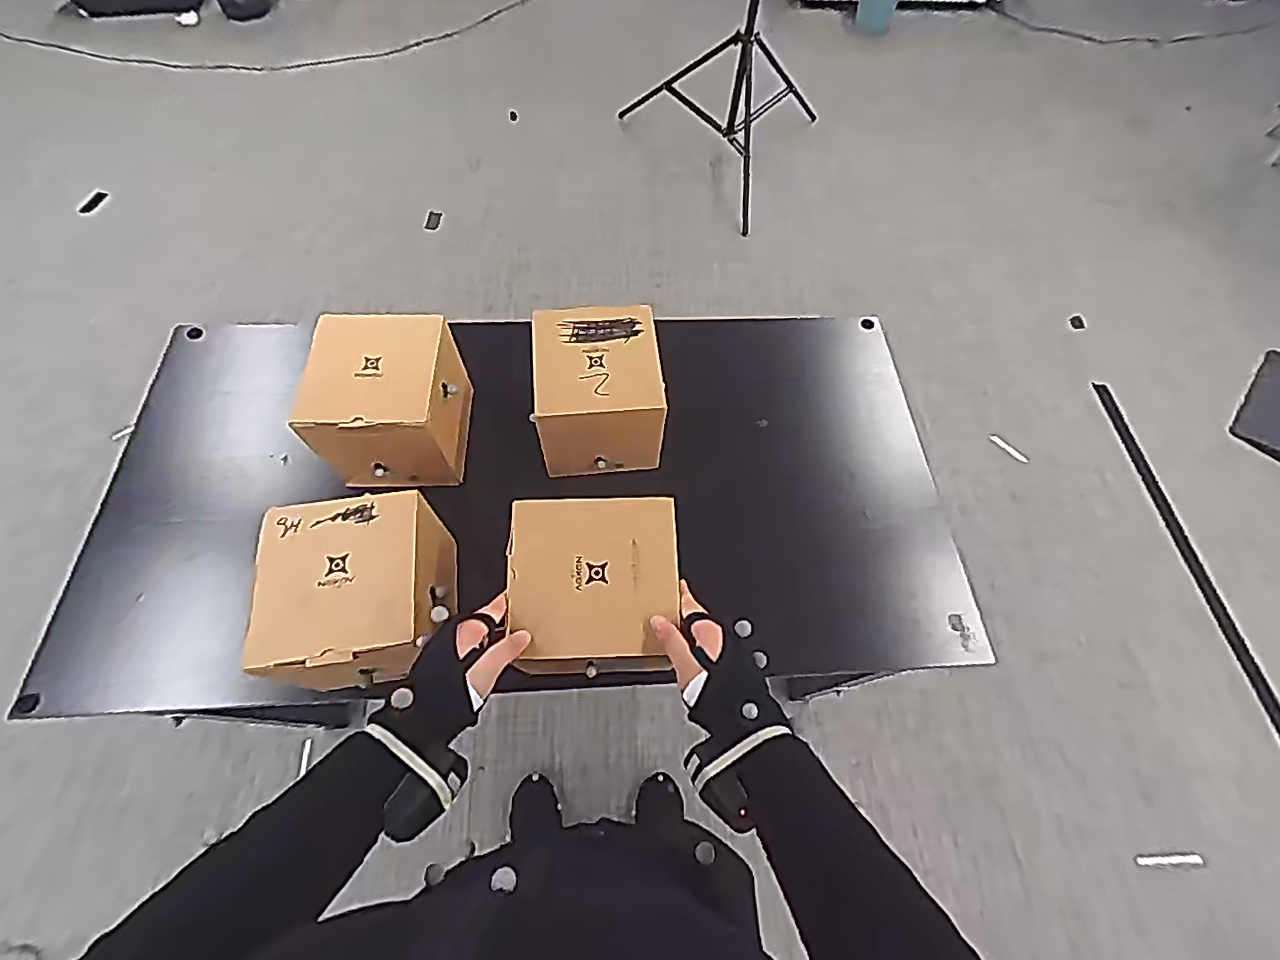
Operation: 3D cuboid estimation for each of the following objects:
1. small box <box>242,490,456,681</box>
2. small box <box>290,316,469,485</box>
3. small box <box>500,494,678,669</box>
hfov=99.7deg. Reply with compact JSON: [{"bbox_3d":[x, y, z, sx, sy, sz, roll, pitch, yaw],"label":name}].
[{"bbox_3d":[-0.322,0.133,0.639,0.168,0.176,0.179,-8,64,-6],"label":"small box"},{"bbox_3d":[-0.347,-0.107,0.762,0.168,0.176,0.179,-1,63,-3],"label":"small box"},{"bbox_3d":[-0.053,0.124,0.627,0.179,0.176,0.168,-2,66,-2],"label":"small box"}]
